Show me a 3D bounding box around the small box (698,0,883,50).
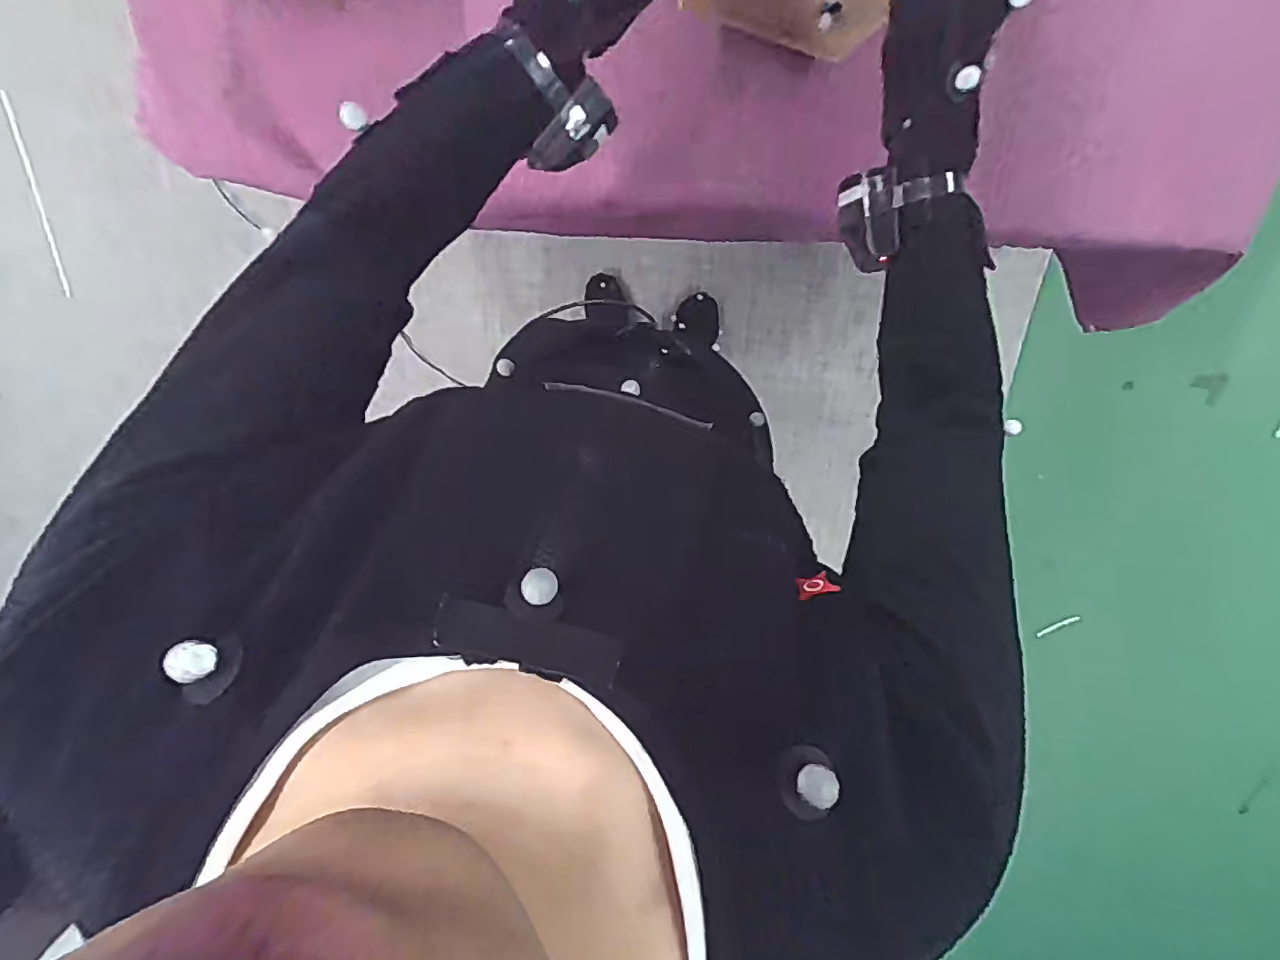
[{"bbox_3d":[0.135,-0.472,0.409,0.168,0.176,0.179,11,110,-9],"label":"small box"}]
